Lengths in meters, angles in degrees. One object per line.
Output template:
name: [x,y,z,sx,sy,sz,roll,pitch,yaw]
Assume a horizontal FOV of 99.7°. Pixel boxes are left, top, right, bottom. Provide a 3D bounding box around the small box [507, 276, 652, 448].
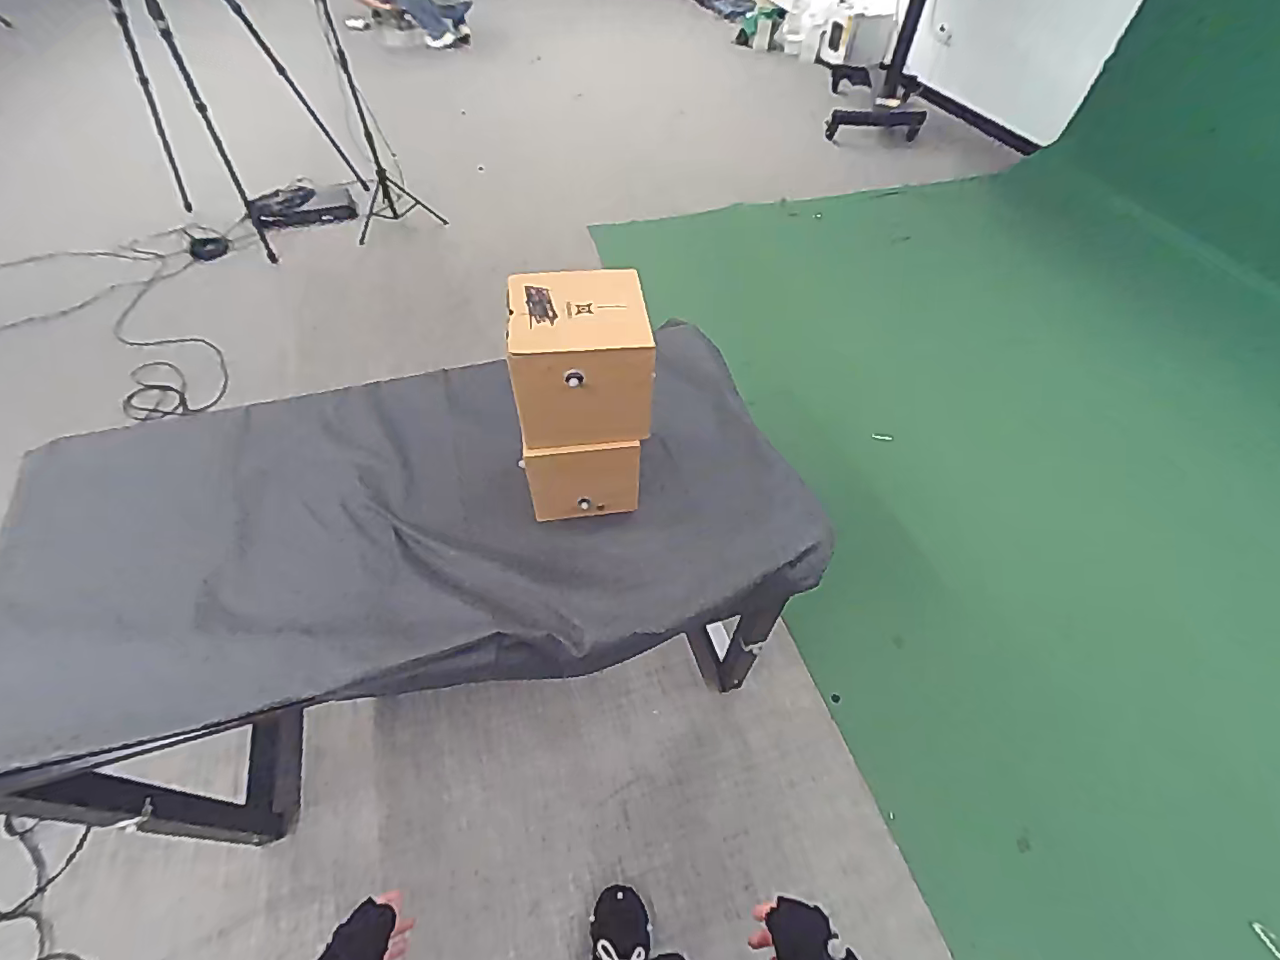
small box: [-0.081,-0.159,0.750,0.179,0.176,0.168,-5,53,-6]
